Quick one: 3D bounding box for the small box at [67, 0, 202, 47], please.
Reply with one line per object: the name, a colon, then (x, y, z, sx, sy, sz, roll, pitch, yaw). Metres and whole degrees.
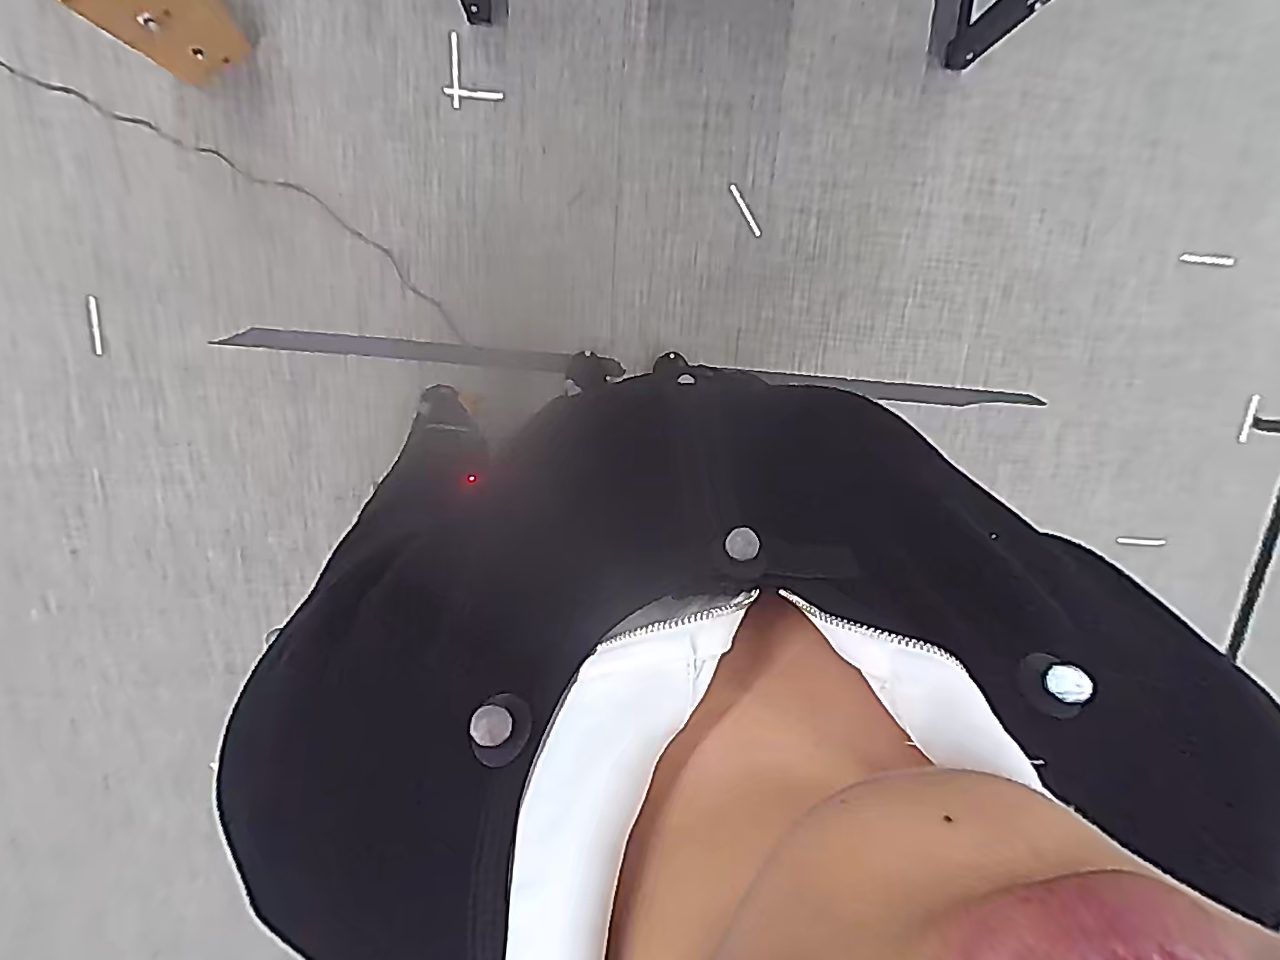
small box: (-0.966, -0.949, 0.976, 0.168, 0.176, 0.179, -33, 104, 5)

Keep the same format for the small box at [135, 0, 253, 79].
small box: (-0.973, -0.989, 1.134, 0.168, 0.176, 0.179, -29, 103, 2)

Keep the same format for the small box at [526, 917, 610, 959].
small box: (-0.158, 1.107, 1.182, 0.179, 0.176, 0.168, -5, 100, -1)
